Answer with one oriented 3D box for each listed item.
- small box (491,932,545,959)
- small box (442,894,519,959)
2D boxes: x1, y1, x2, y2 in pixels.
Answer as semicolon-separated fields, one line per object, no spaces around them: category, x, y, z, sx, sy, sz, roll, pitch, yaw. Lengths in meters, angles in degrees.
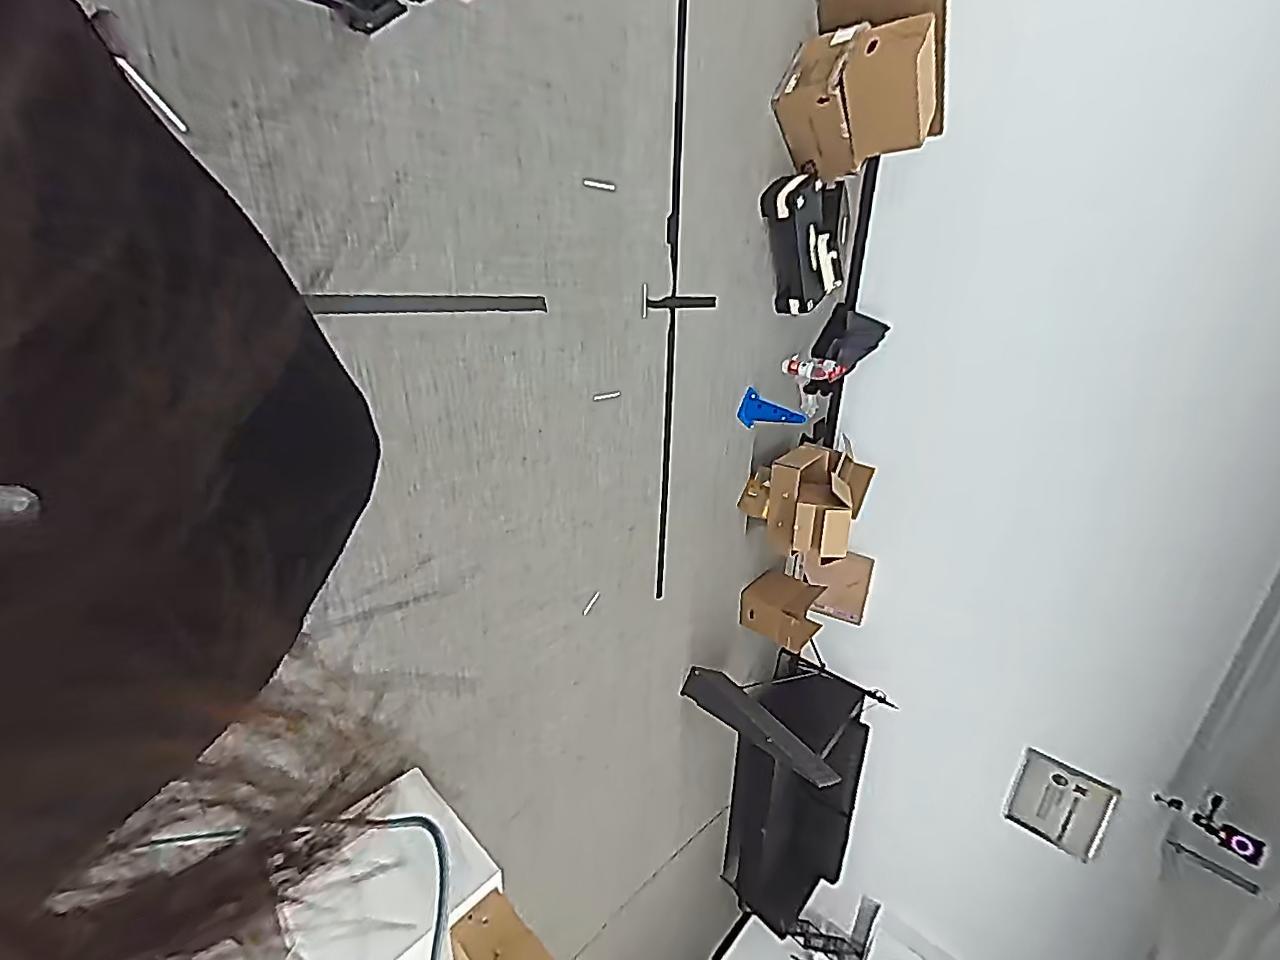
small box;-0.356;1.454;1.526;0.179;0.176;0.168;-19;121;-45
small box;-0.477;1.412;1.629;0.168;0.176;0.179;-19;121;-44
